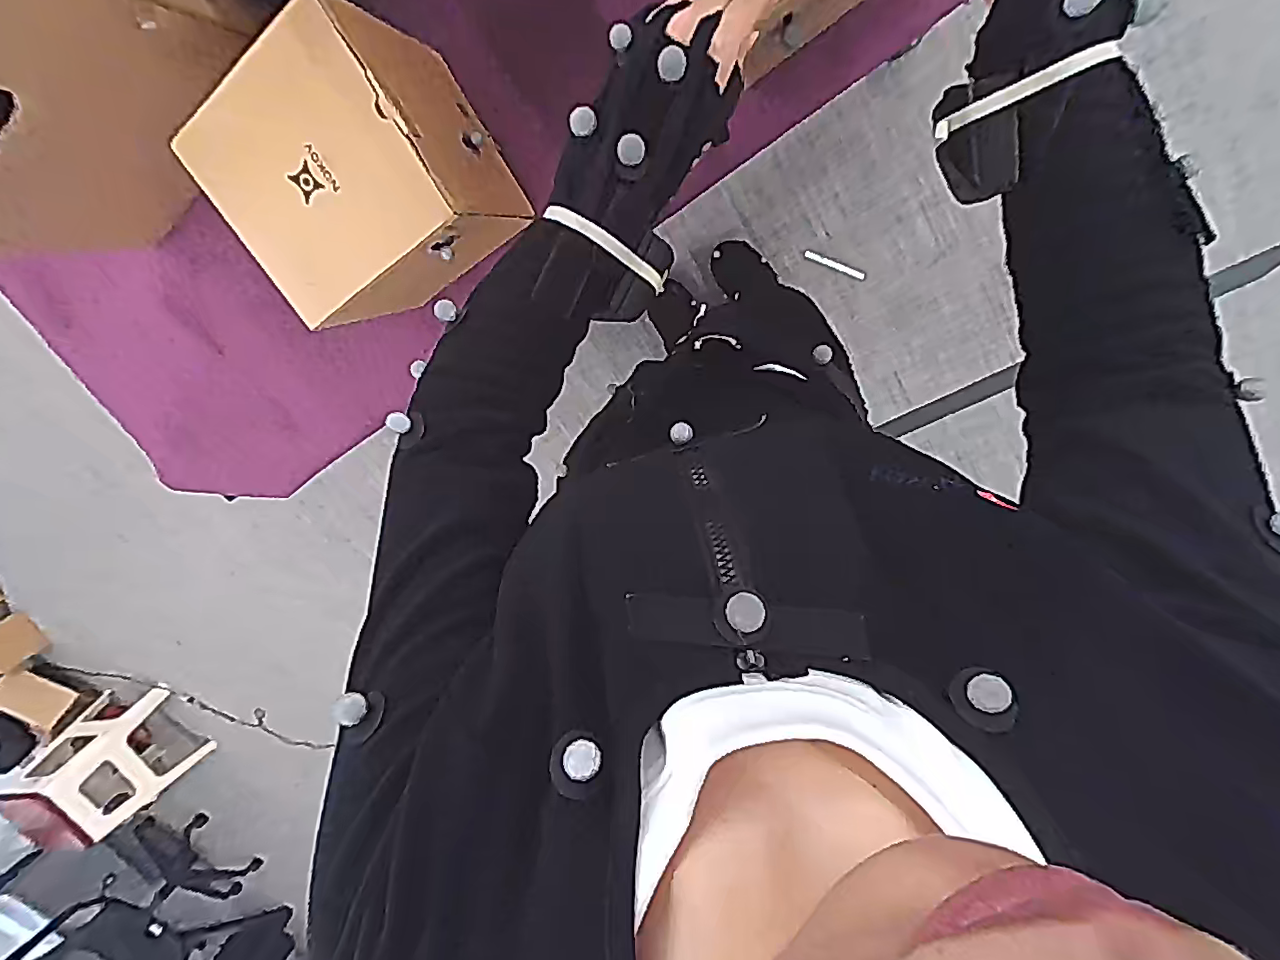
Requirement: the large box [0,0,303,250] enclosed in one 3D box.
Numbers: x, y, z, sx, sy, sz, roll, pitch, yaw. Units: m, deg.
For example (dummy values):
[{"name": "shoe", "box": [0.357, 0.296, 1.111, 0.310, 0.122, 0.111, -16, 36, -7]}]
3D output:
[{"name": "large box", "box": [-0.574, -0.432, 0.386, 0.320, 0.320, 0.408, -30, 109, 23]}]
